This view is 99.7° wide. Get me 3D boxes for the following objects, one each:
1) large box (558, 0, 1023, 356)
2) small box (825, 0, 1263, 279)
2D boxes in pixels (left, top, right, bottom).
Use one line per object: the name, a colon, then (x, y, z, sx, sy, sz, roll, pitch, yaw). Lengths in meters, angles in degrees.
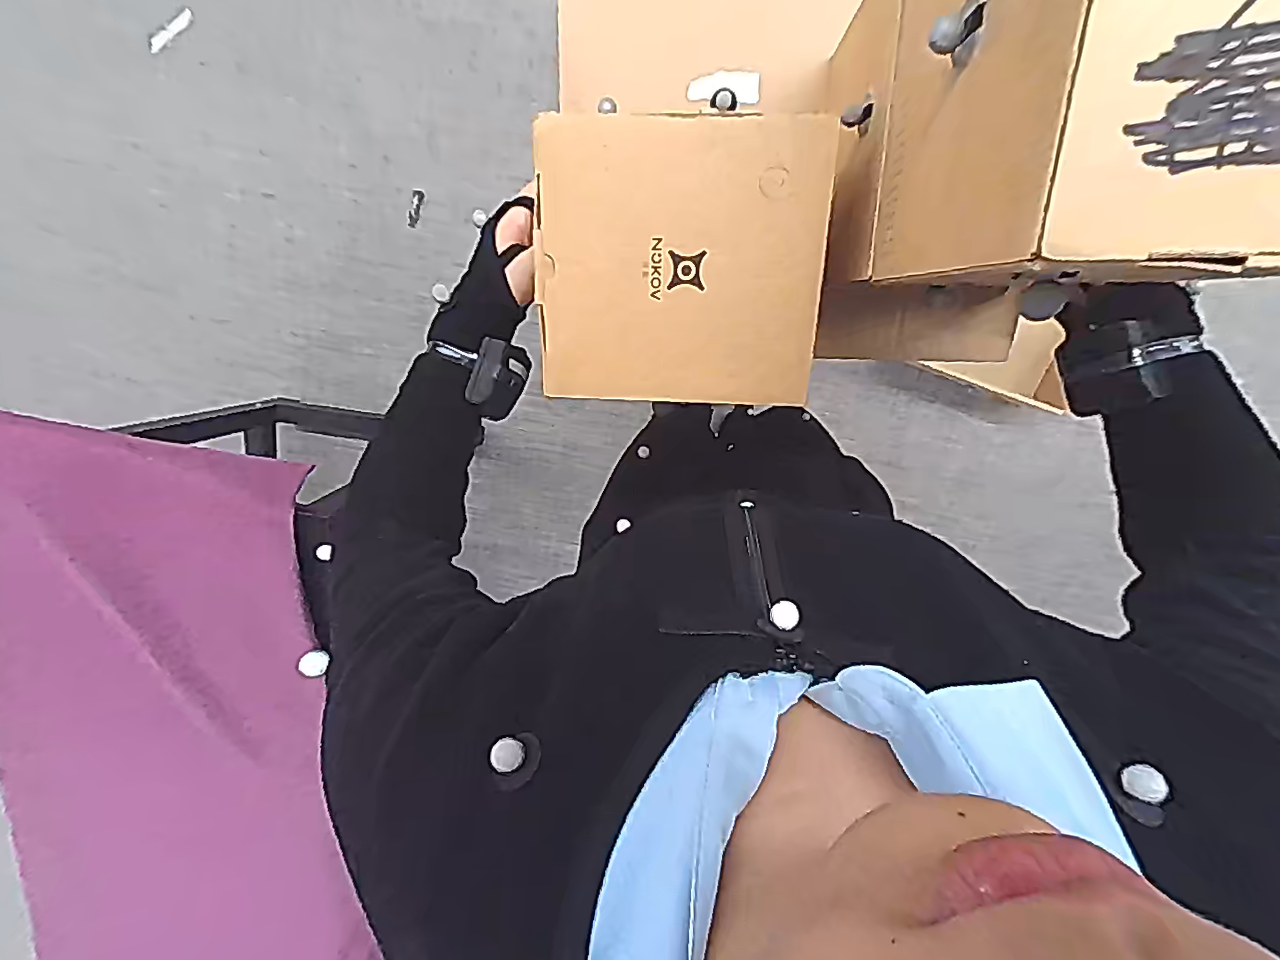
large box: (0.149, -0.312, 0.596, 0.408, 0.320, 0.320, 2, 107, 6)
small box: (0.227, -0.230, 0.355, 0.168, 0.176, 0.179, 1, 109, 6)
